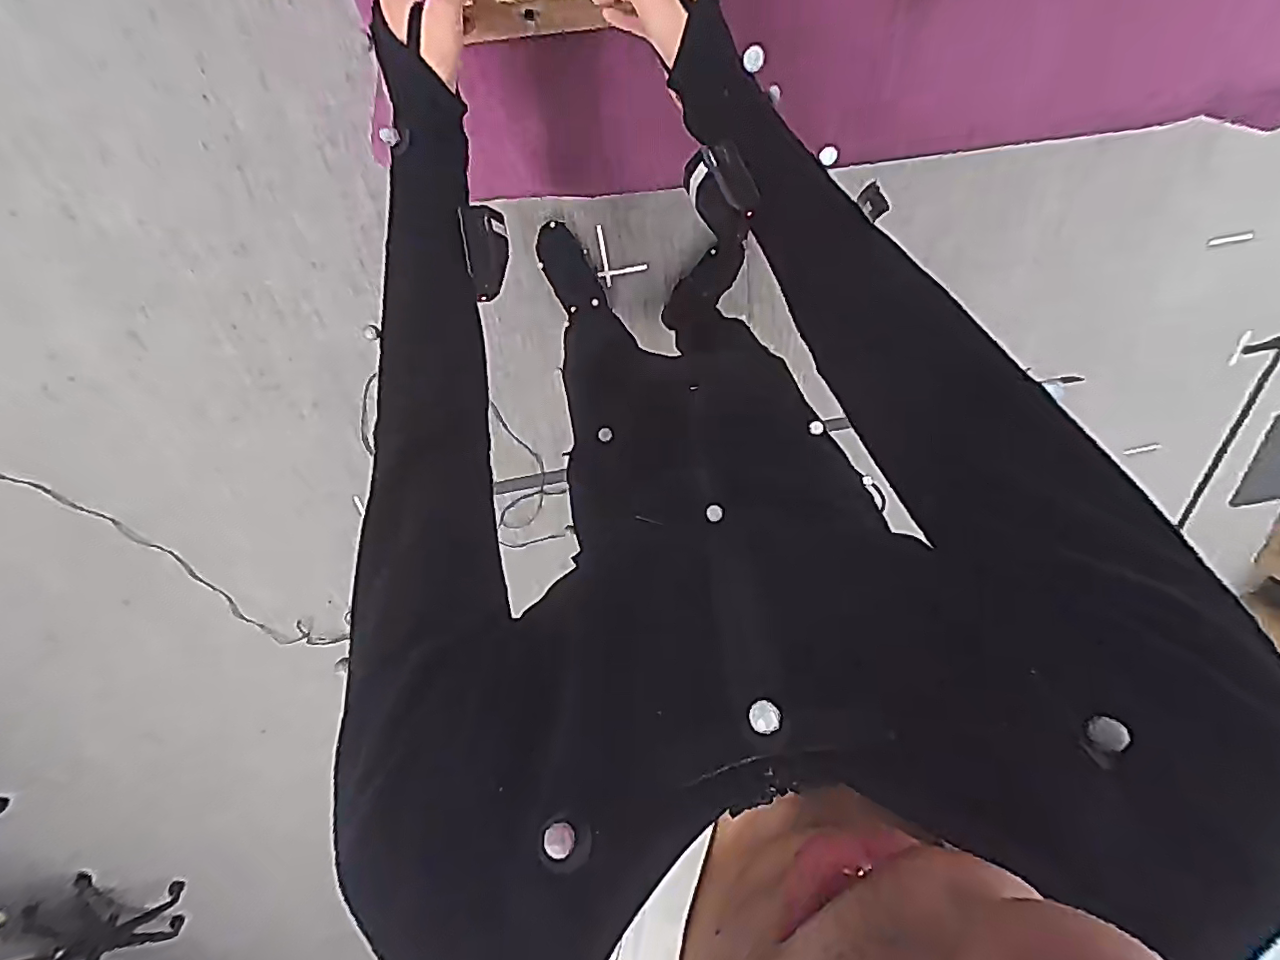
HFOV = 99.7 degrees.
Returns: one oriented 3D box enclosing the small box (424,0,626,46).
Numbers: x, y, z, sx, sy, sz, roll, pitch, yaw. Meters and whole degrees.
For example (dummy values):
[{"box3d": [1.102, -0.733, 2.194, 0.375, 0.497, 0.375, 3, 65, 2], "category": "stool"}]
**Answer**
[{"box3d": [-0.102, -0.489, 0.457, 0.179, 0.176, 0.168, -10, 123, -5], "category": "small box"}]
